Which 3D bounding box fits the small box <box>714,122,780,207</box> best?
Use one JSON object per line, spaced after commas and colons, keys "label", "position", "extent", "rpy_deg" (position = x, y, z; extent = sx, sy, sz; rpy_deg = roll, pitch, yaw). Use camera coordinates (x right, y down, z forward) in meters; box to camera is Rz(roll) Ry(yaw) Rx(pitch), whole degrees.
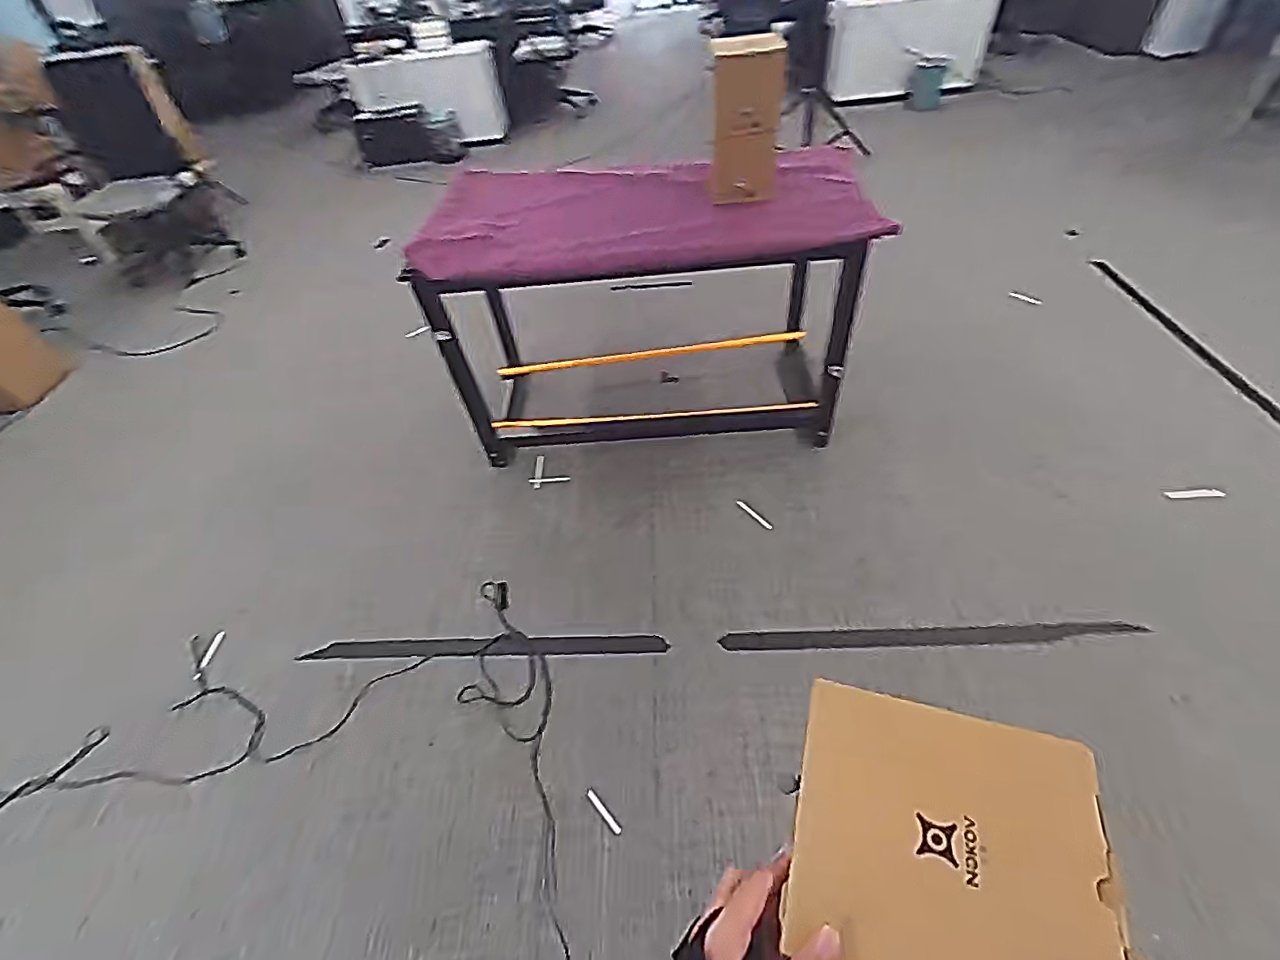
{"label": "small box", "position": [0.286, -0.868, 1.477], "extent": [0.168, 0.176, 0.179], "rpy_deg": [-1, 49, 7]}

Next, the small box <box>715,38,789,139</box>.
{"label": "small box", "position": [0.273, -0.977, 1.354], "extent": [0.168, 0.176, 0.179], "rpy_deg": [-1, 49, 7]}

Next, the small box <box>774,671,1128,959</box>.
{"label": "small box", "position": [0.196, 0.266, 0.389], "extent": [0.179, 0.176, 0.168], "rpy_deg": [8, 51, 18]}
